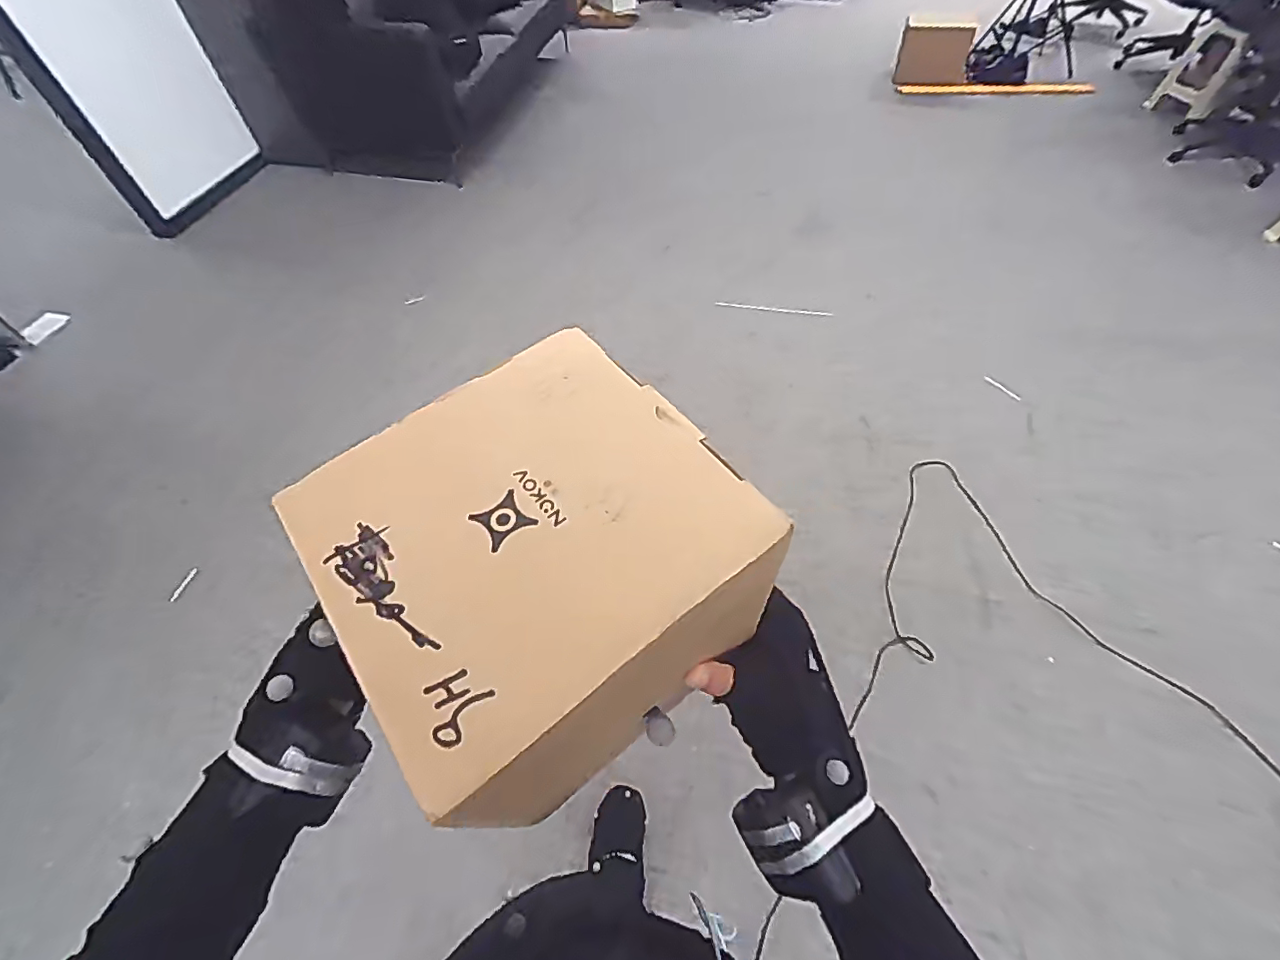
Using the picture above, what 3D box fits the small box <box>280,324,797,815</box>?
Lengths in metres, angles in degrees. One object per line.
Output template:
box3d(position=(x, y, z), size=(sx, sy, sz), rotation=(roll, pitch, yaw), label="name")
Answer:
box3d(position=(-0.046, 0.053, 0.305), size=(0.179, 0.176, 0.168), rotation=(-34, 62, -18), label="small box")
